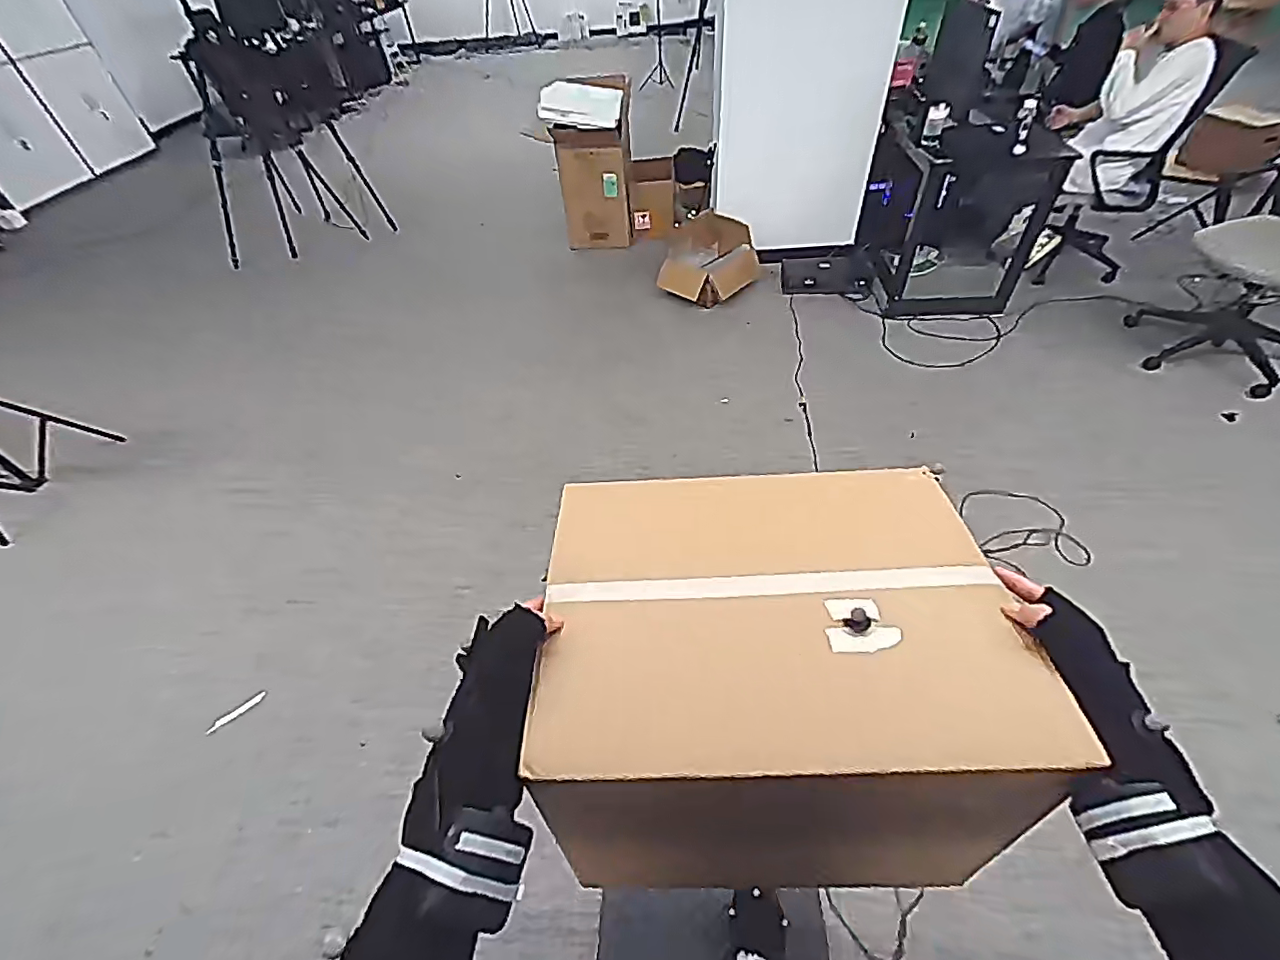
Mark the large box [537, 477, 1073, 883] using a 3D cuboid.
[{"bbox_3d":[0.125,0.219,0.604,0.408,0.320,0.320,-3,41,3],"label":"large box"}]
